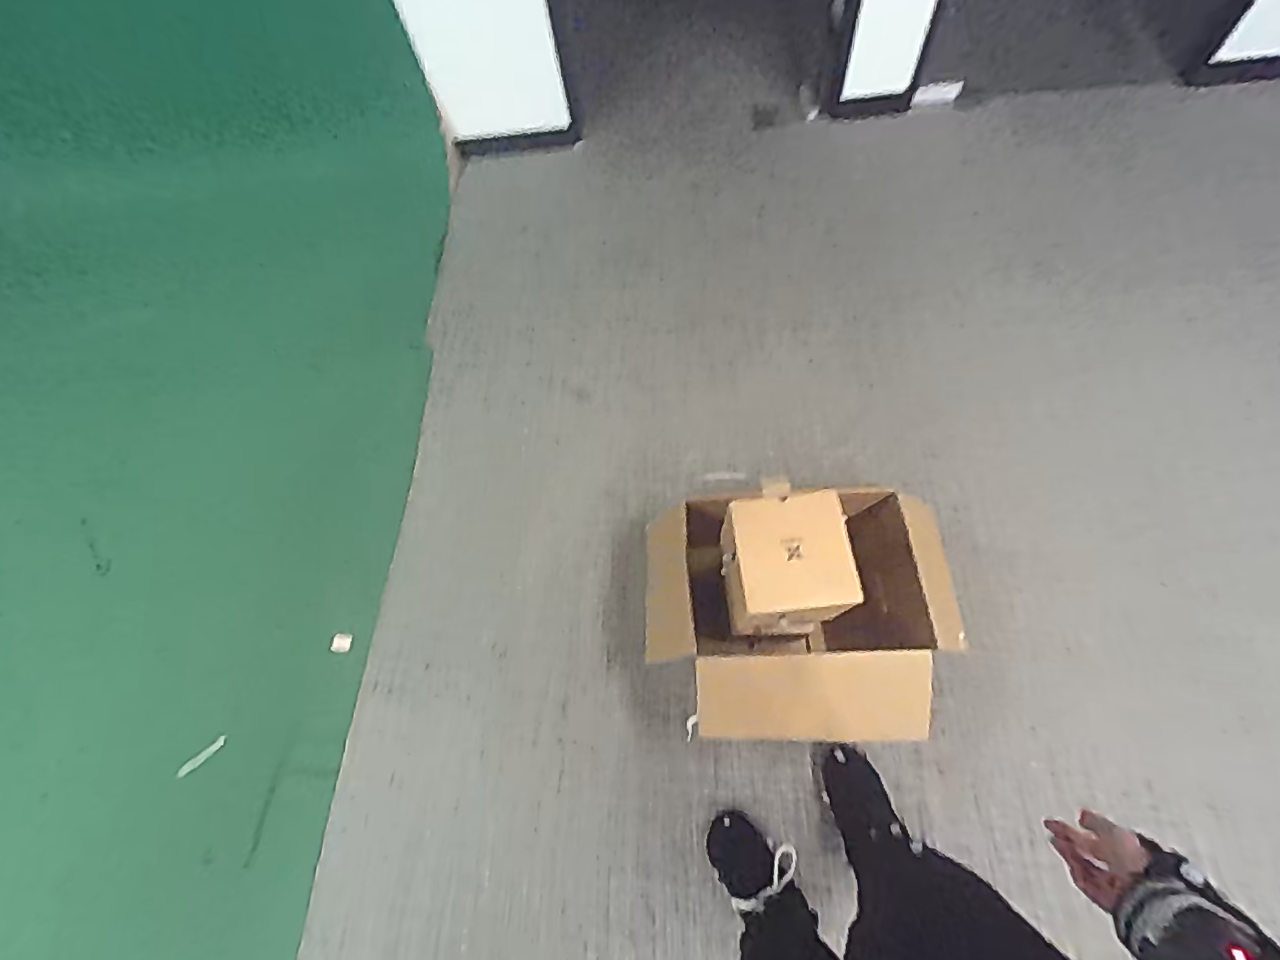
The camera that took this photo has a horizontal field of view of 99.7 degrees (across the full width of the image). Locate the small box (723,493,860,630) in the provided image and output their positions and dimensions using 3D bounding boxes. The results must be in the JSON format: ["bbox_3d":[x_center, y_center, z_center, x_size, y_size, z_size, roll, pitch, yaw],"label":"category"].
[{"bbox_3d":[0.229,0.139,0.866,0.168,0.176,0.179,-7,66,2],"label":"small box"}]

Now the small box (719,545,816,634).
[{"bbox_3d":[0.244,0.187,1.021,0.168,0.176,0.179,-5,67,2],"label":"small box"}]
